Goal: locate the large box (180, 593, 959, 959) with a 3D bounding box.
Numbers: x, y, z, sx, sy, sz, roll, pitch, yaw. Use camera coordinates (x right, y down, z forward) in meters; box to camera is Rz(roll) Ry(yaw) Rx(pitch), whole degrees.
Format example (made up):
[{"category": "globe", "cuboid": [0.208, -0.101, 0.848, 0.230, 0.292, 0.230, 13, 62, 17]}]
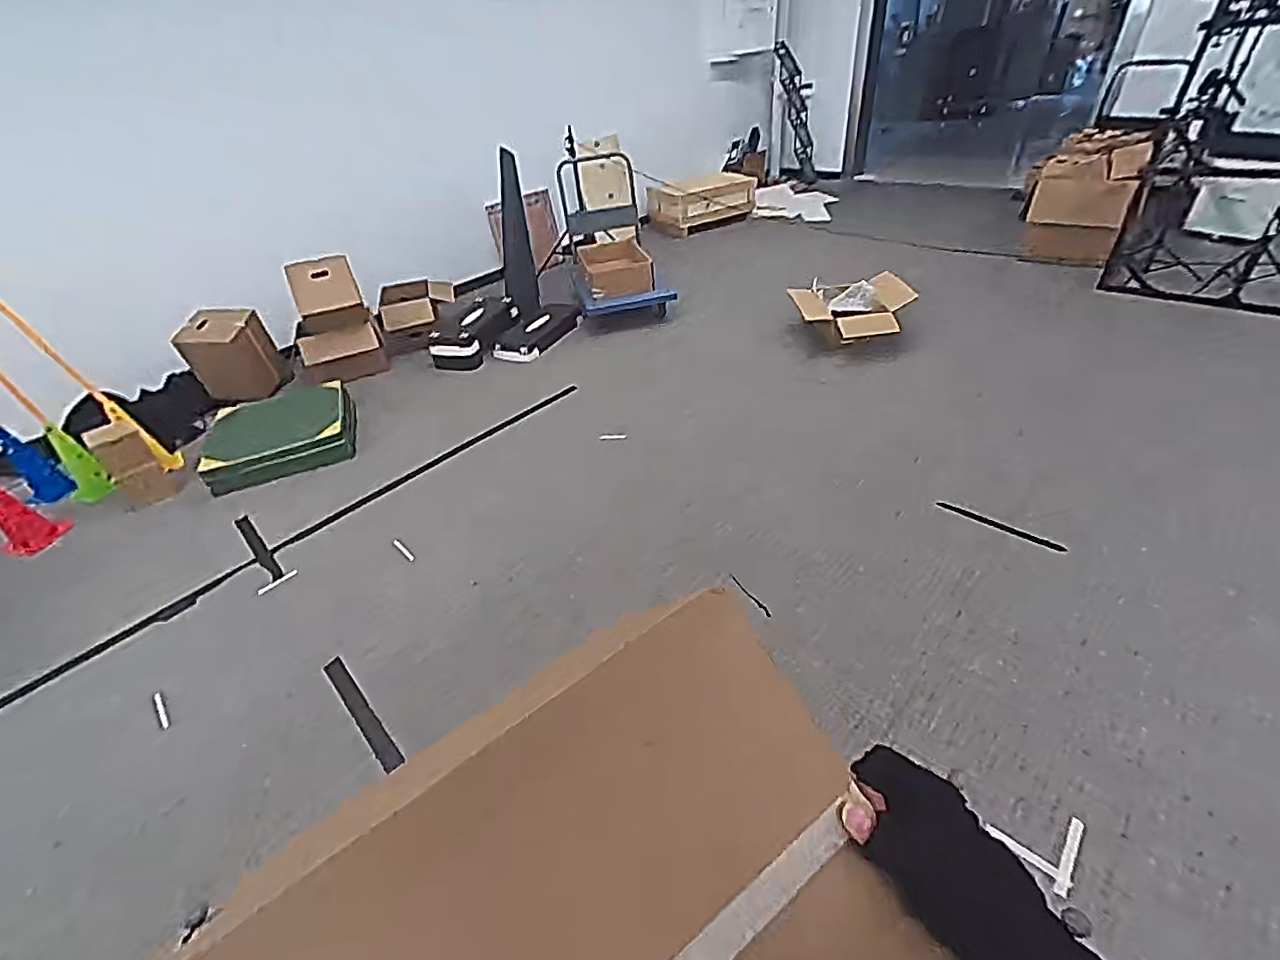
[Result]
[{"category": "large box", "cuboid": [-0.062, 0.342, 0.412, 0.408, 0.320, 0.320, -31, 82, -21]}]
